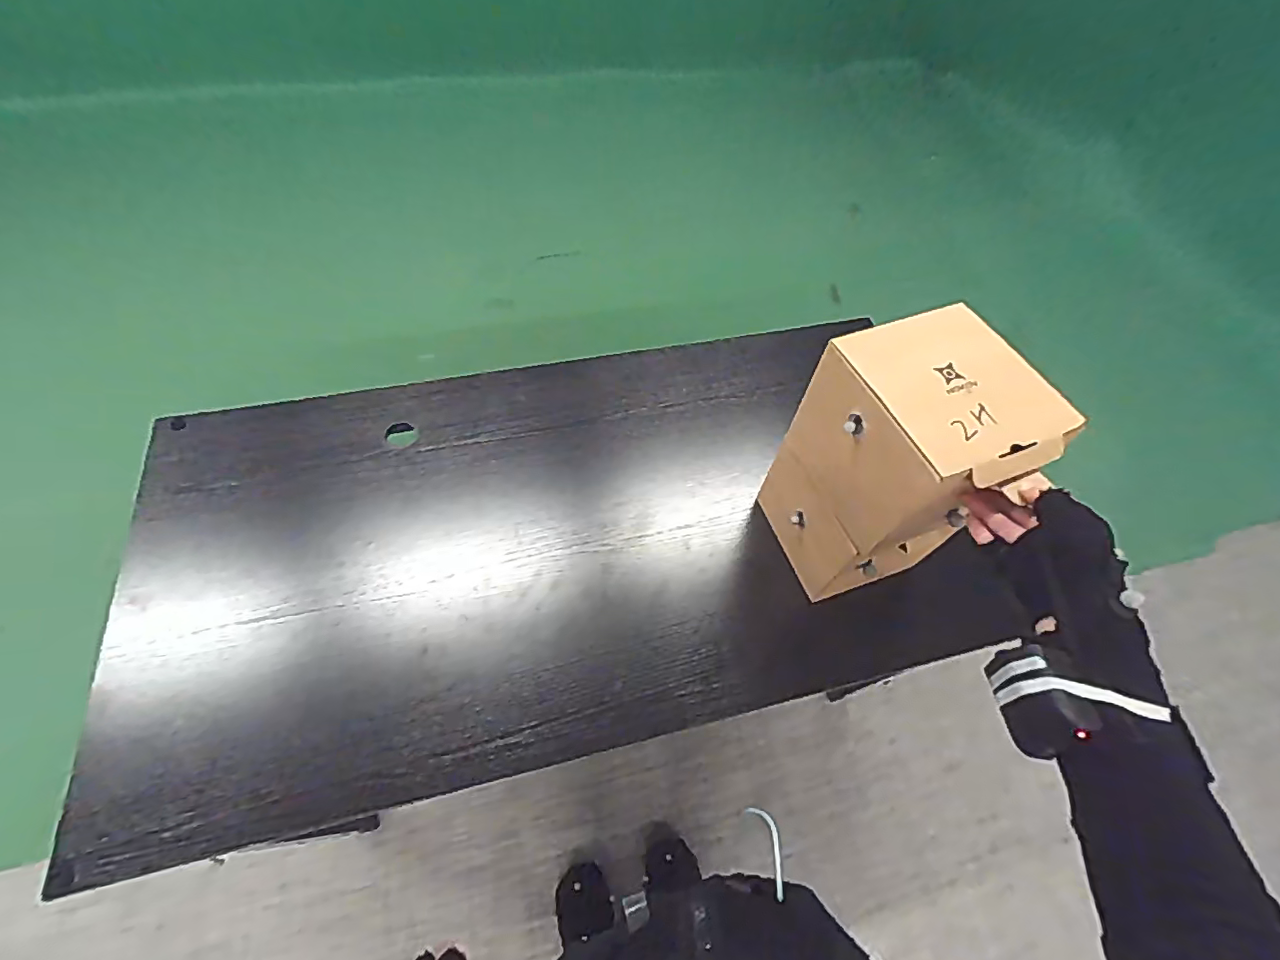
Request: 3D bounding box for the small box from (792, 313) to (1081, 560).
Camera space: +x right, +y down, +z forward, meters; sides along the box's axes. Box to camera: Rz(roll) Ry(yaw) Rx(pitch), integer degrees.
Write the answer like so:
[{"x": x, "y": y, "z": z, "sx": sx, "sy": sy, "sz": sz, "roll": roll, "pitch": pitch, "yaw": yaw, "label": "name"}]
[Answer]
[{"x": 0.289, "y": -0.043, "z": 0.578, "sx": 0.168, "sy": 0.176, "sz": 0.179, "roll": -18, "pitch": 61, "yaw": -13, "label": "small box"}]
